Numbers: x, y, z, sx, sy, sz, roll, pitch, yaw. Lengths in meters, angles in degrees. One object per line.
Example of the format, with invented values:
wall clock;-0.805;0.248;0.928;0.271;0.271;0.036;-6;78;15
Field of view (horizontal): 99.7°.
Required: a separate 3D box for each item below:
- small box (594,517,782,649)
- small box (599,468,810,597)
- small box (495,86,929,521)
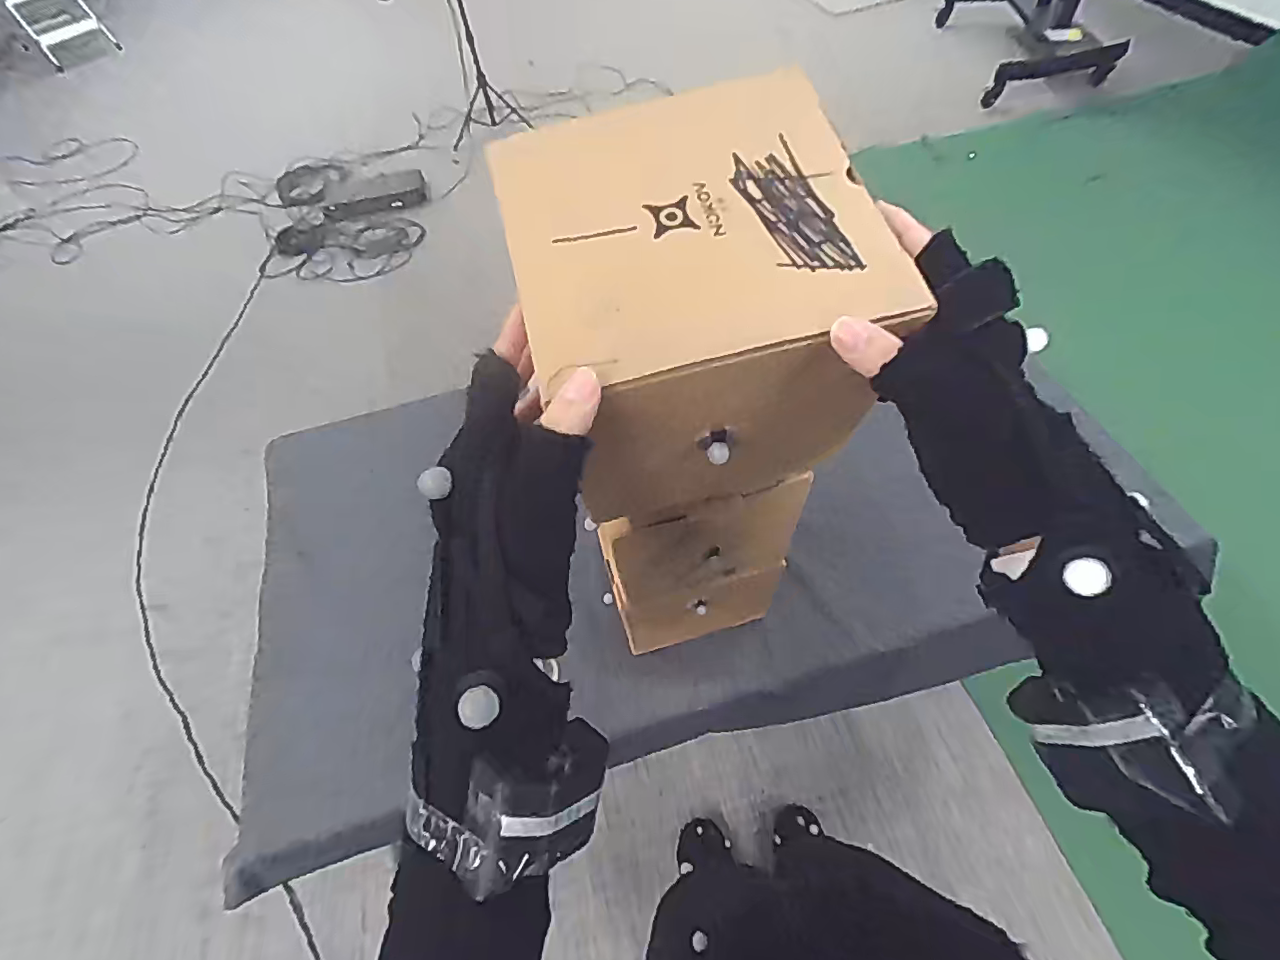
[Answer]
small box;0.048;0.086;0.649;0.179;0.176;0.168;-15;58;-6
small box;0.036;-0.004;0.513;0.168;0.176;0.179;-17;59;-6
small box;0.028;-0.090;0.333;0.179;0.176;0.168;-14;67;-3
